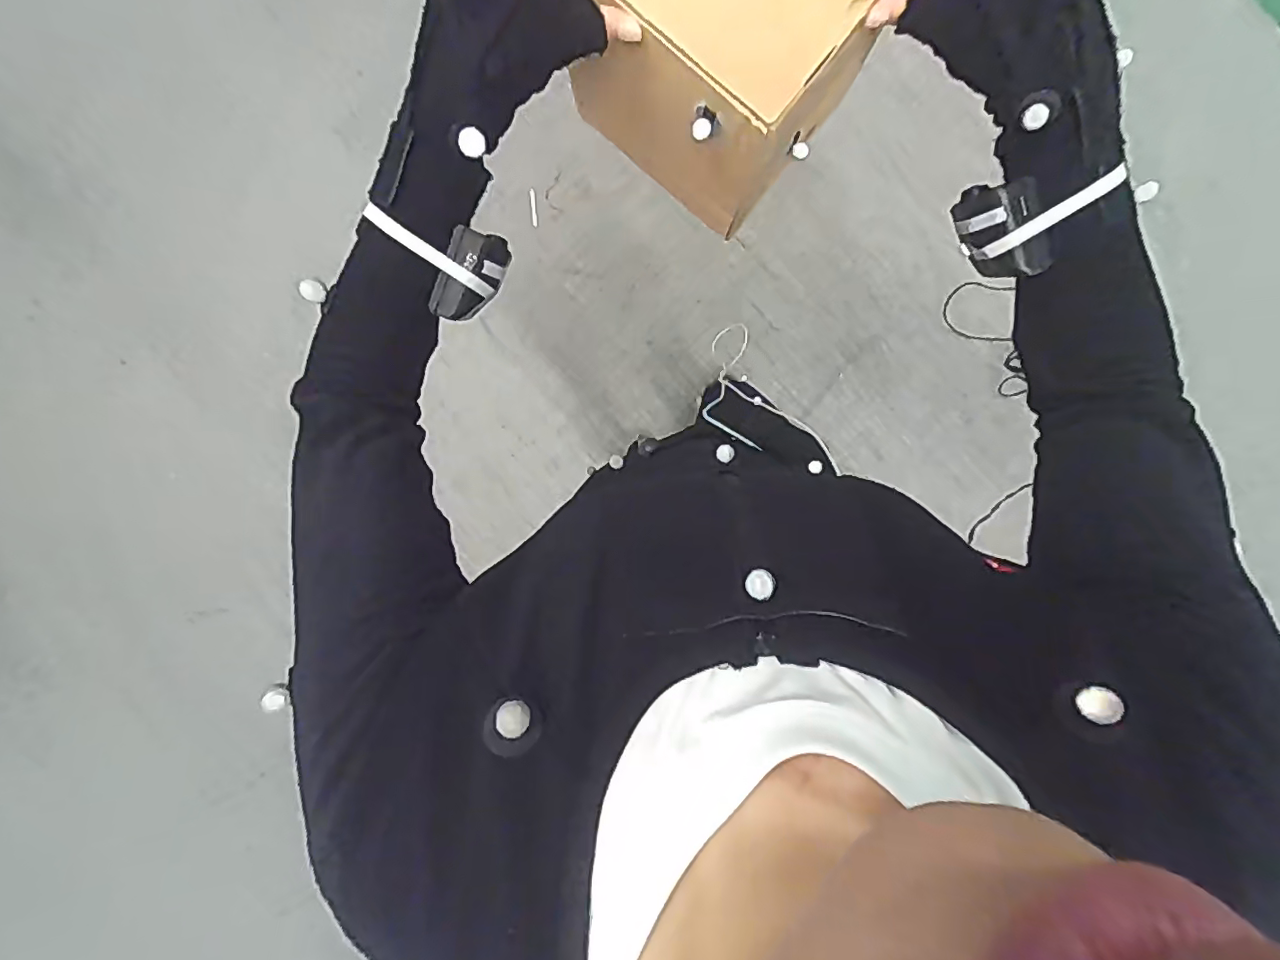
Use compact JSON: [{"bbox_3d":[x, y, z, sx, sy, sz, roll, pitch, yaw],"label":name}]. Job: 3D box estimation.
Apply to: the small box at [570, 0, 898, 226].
[{"bbox_3d":[0.060,-0.327,0.396,0.179,0.176,0.168,40,92,-3],"label":"small box"}]
